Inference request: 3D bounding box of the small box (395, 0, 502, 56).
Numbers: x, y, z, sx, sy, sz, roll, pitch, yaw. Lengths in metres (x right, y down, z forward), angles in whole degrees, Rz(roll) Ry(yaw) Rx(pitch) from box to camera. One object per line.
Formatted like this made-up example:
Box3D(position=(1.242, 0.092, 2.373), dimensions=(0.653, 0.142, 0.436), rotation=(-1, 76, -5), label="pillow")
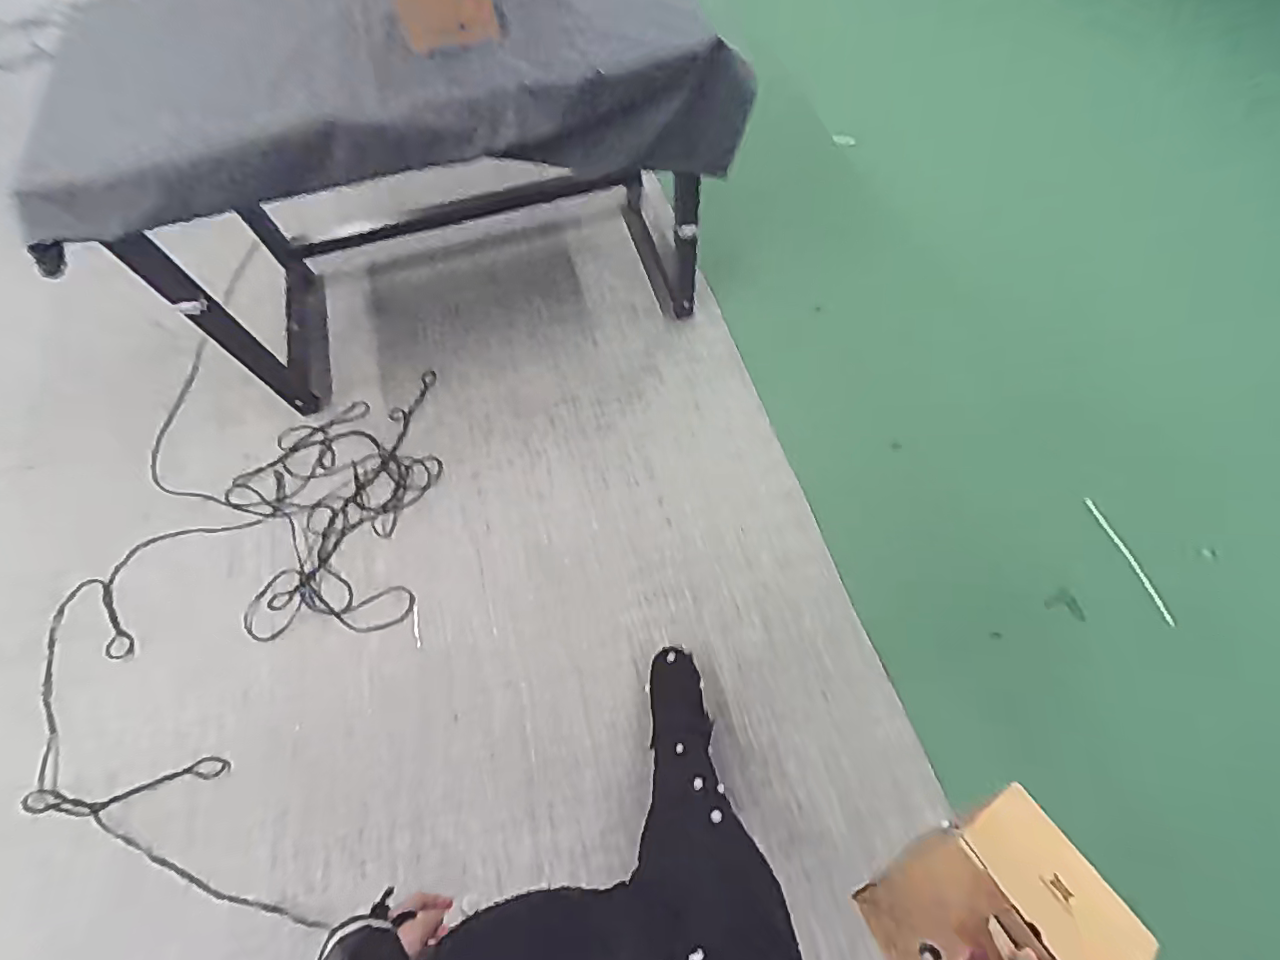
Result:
Box3D(position=(-0.355, -0.896, 0.970), dimensions=(0.168, 0.176, 0.179), rotation=(-13, 63, -4), label="small box")
